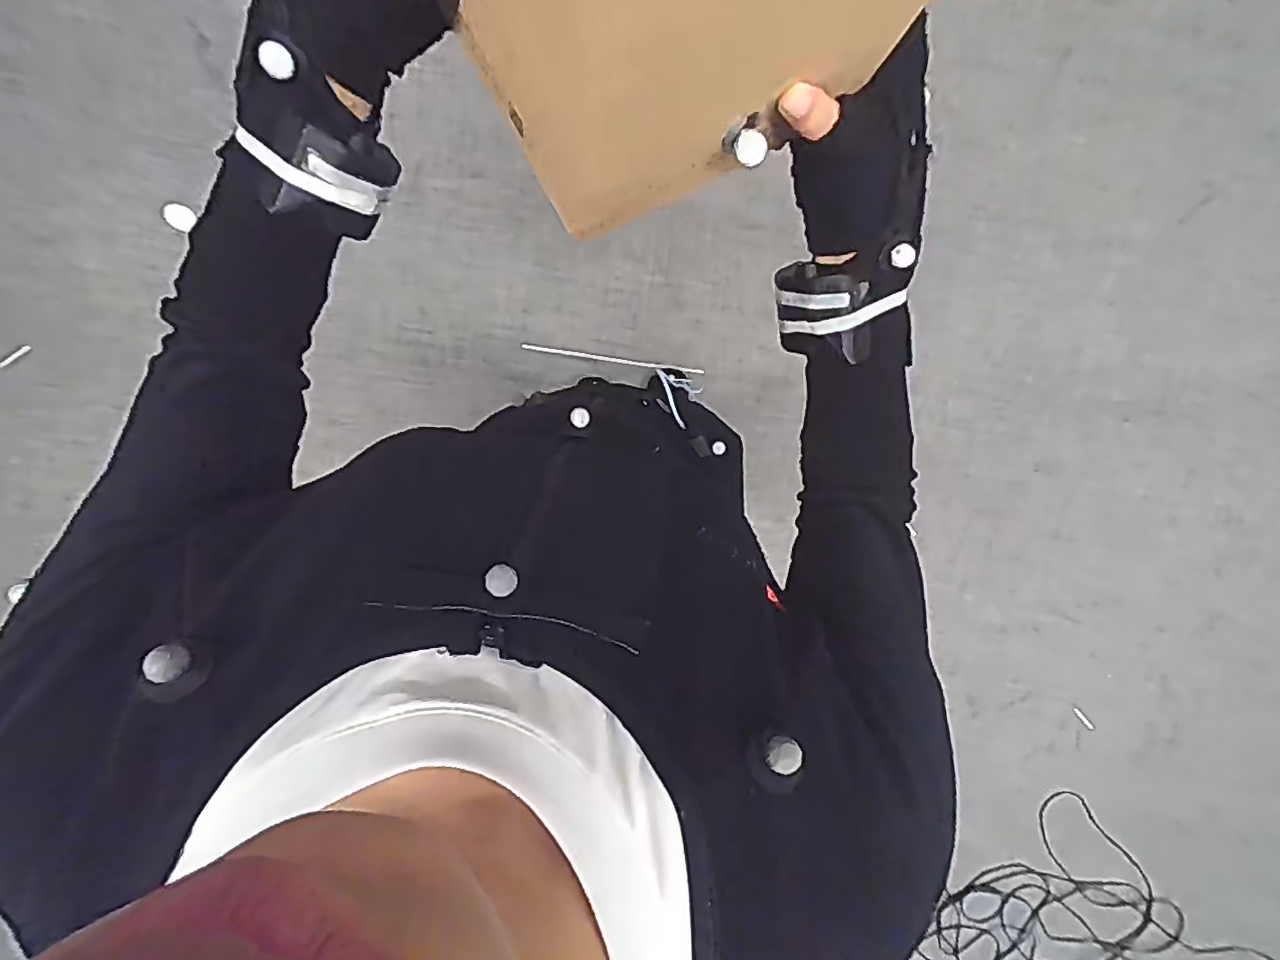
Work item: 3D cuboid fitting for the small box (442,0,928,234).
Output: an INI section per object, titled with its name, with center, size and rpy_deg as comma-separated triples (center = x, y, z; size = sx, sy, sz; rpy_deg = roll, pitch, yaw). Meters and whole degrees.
[small box]
center = 0.016, -0.235, 0.209
size = 0.179, 0.176, 0.168
rpy_deg = -30, 94, -8
